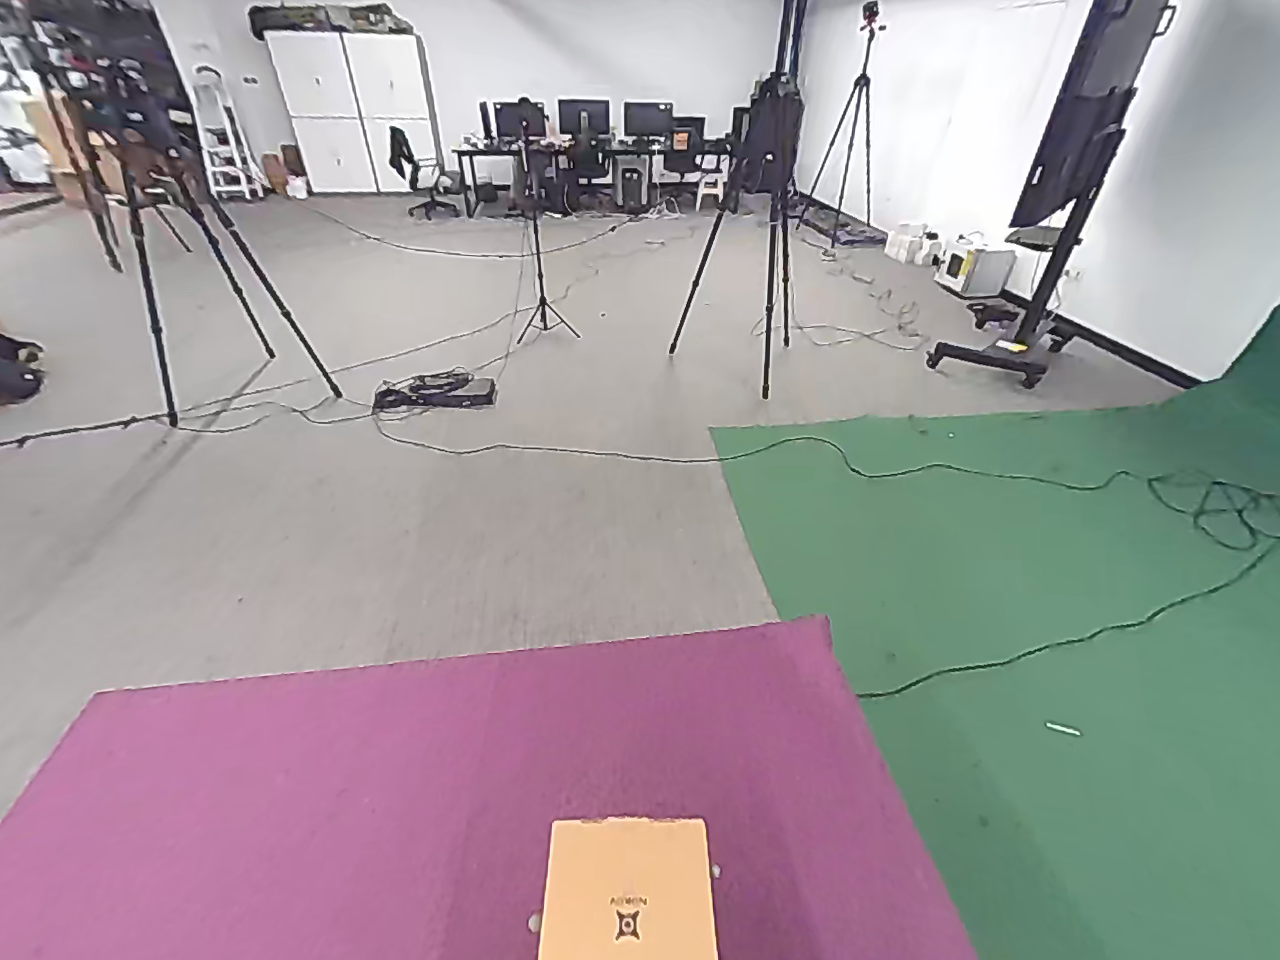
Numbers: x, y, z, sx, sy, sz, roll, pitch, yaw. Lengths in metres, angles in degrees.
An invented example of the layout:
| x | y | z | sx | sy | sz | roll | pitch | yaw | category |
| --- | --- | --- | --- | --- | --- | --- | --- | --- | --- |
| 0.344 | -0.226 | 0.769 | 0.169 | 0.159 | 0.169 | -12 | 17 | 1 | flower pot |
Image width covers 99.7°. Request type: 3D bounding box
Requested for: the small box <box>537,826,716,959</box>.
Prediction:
| x | y | z | sx | sy | sz | roll | pitch | yaw | category |
| --- | --- | --- | --- | --- | --- | --- | --- | --- | --- |
| -0.010 | 0.487 | 0.552 | 0.168 | 0.176 | 0.179 | -1 | 33 | 0 | small box |
